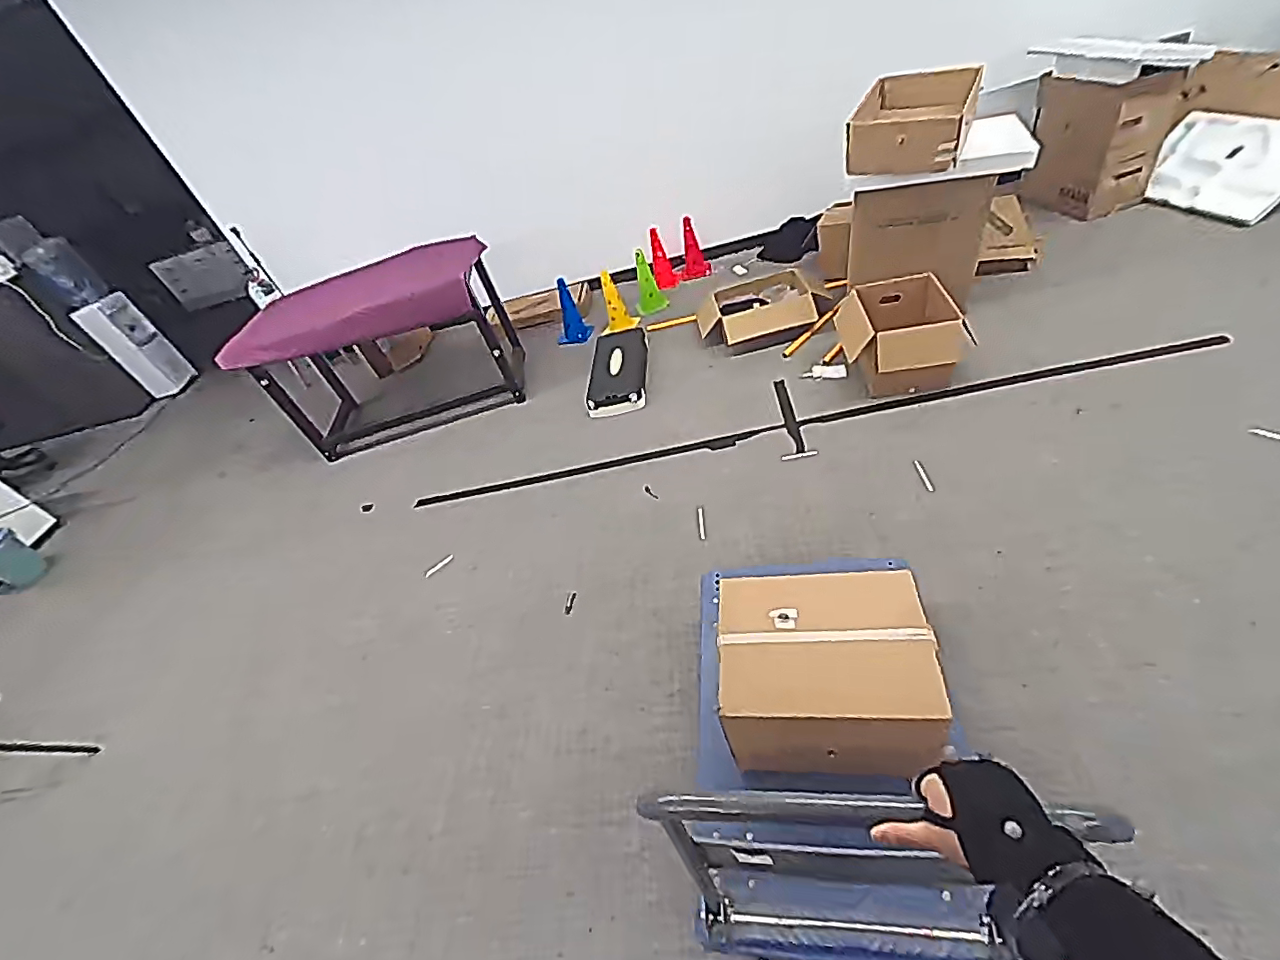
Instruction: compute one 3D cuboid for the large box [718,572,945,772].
[{"bbox_3d":[0.399,0.433,1.195,0.408,0.320,0.320,-7,42,15],"label":"large box"}]
